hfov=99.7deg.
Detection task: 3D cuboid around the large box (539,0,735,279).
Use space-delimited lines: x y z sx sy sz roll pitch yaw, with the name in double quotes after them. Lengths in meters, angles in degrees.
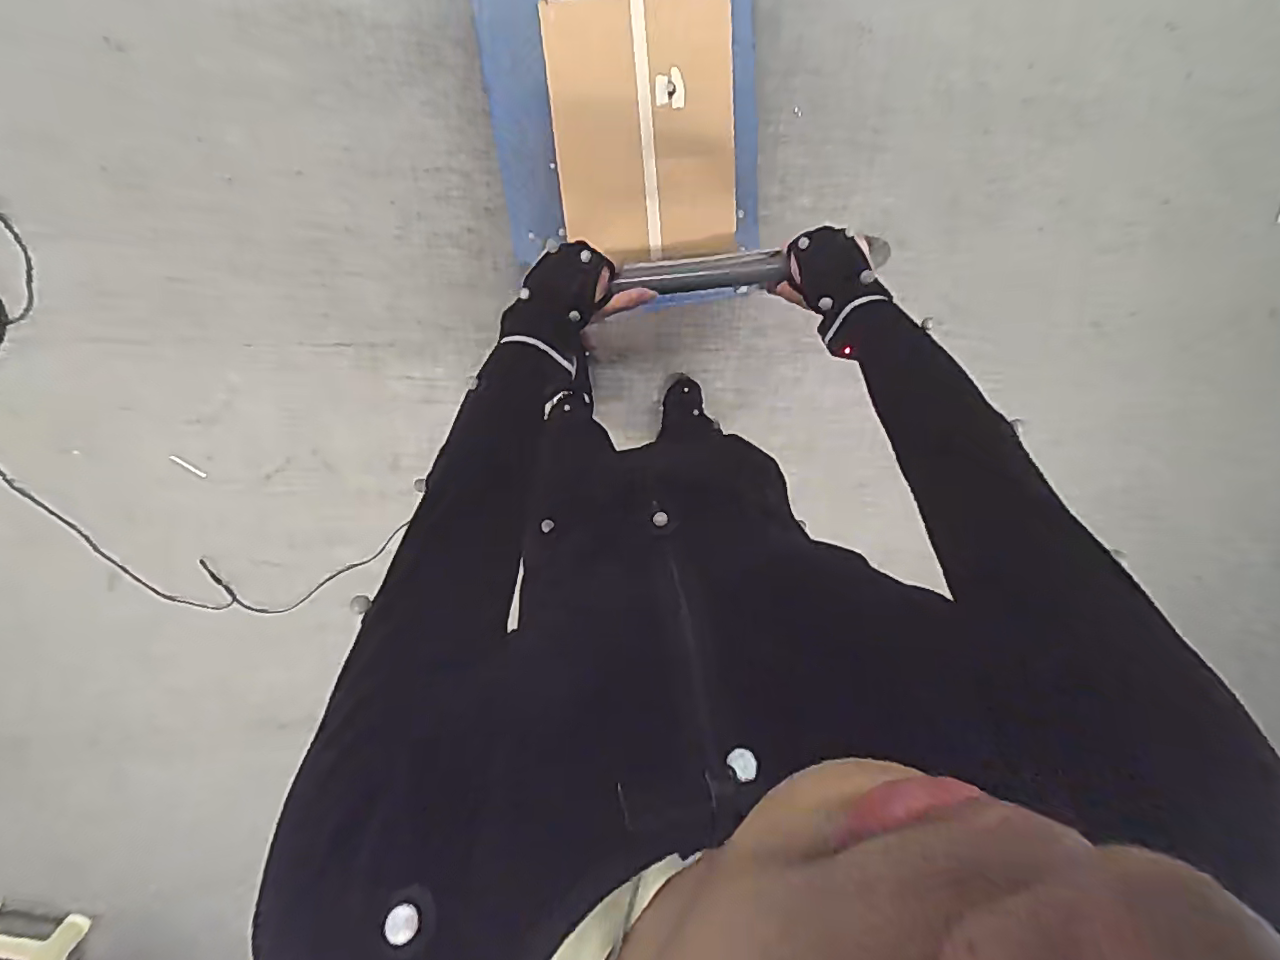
-0.007 -0.639 1.092 0.320 0.320 0.408 -7 109 -4 "large box"
